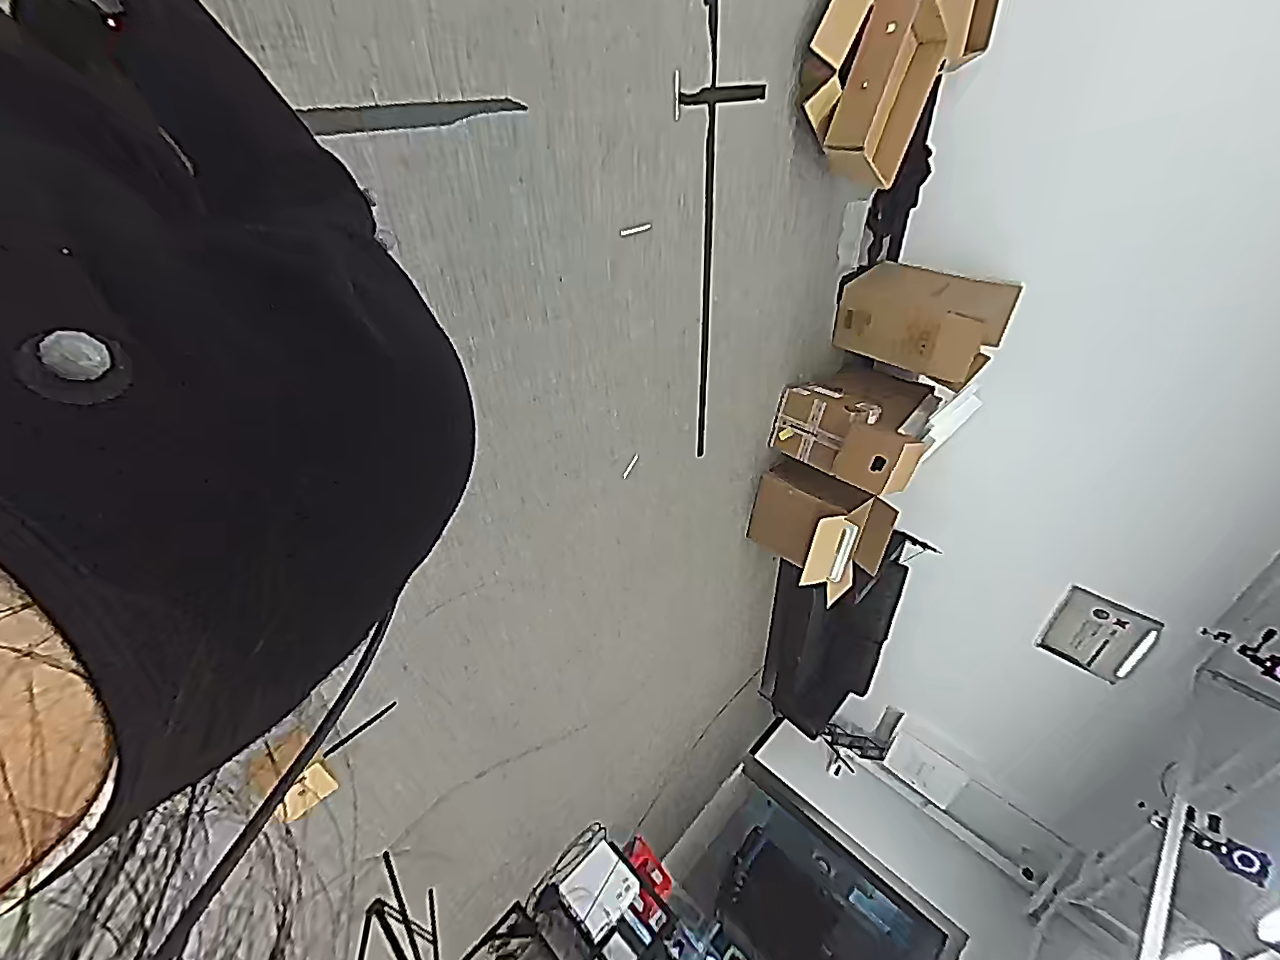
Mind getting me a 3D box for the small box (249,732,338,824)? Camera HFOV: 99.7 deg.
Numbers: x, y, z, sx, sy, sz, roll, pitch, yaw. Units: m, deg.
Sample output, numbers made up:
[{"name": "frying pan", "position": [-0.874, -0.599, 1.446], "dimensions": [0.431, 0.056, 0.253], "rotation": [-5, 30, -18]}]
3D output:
[{"name": "small box", "position": [-1.123, 0.959, 1.753], "dimensions": [0.168, 0.176, 0.179], "rotation": [-34, 139, -32]}]
